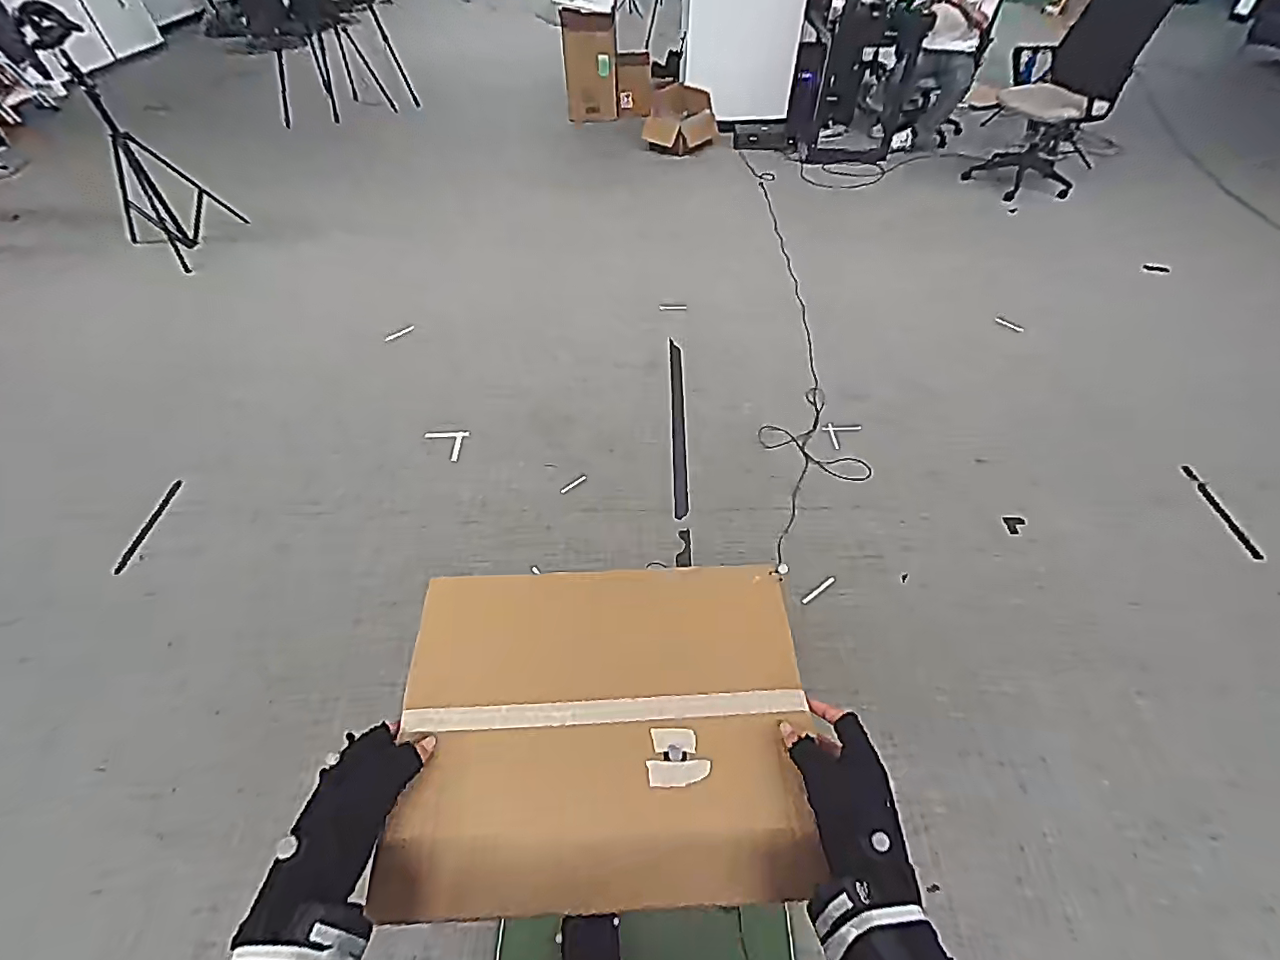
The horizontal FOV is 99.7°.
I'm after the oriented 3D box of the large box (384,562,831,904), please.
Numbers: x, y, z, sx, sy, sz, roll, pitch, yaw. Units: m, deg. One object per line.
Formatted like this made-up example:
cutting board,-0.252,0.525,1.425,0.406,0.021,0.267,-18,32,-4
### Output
large box,-0.037,0.320,0.680,0.408,0.320,0.320,-2,54,-2
